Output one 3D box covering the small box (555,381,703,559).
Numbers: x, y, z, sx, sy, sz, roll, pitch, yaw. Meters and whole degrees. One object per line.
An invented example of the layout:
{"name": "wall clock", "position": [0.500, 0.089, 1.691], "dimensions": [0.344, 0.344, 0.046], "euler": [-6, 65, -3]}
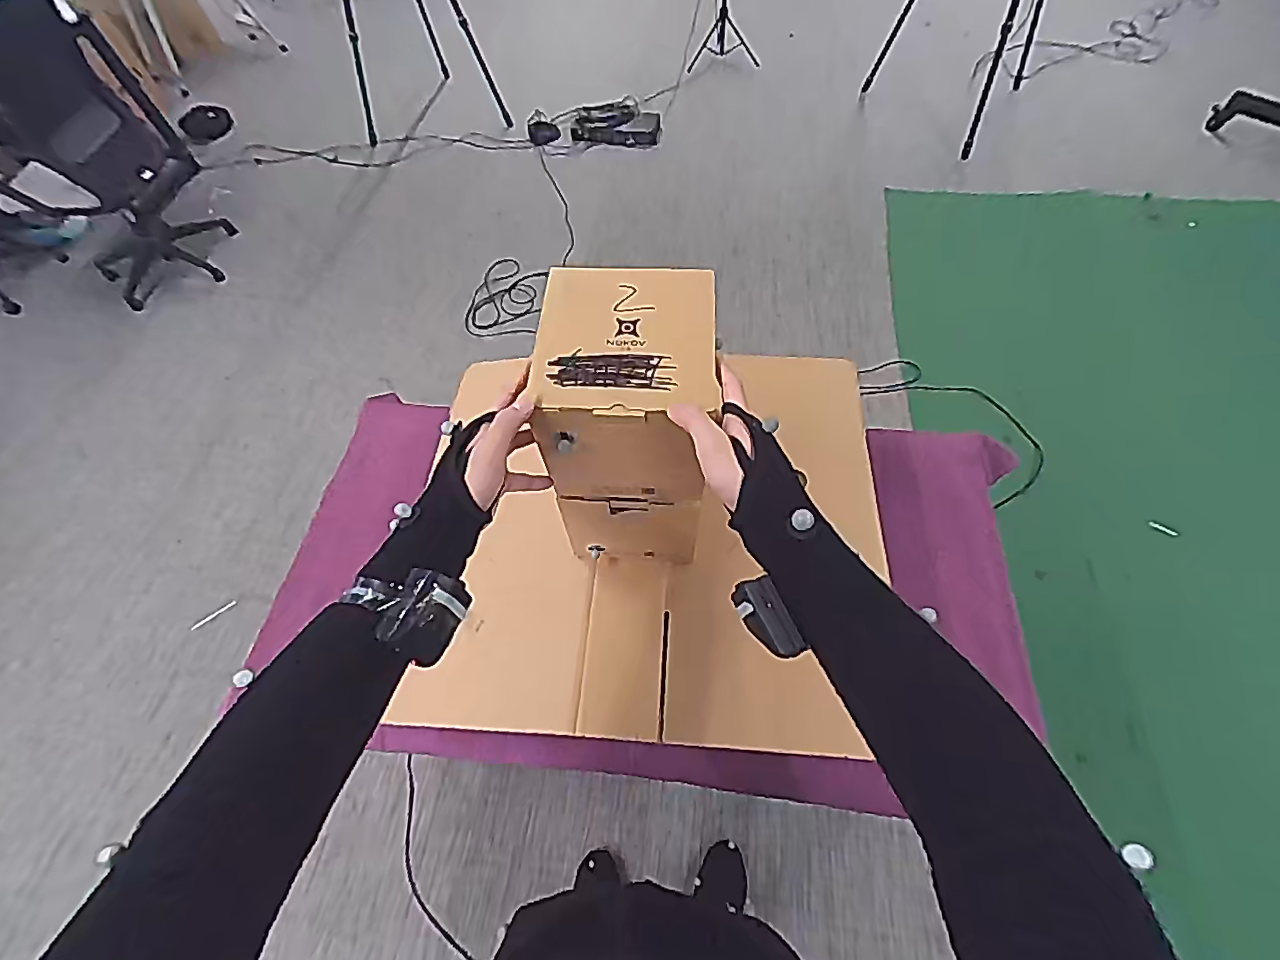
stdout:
{"name": "small box", "position": [-0.005, -0.007, 0.706], "dimensions": [0.168, 0.176, 0.179], "euler": [3, 59, 3]}
